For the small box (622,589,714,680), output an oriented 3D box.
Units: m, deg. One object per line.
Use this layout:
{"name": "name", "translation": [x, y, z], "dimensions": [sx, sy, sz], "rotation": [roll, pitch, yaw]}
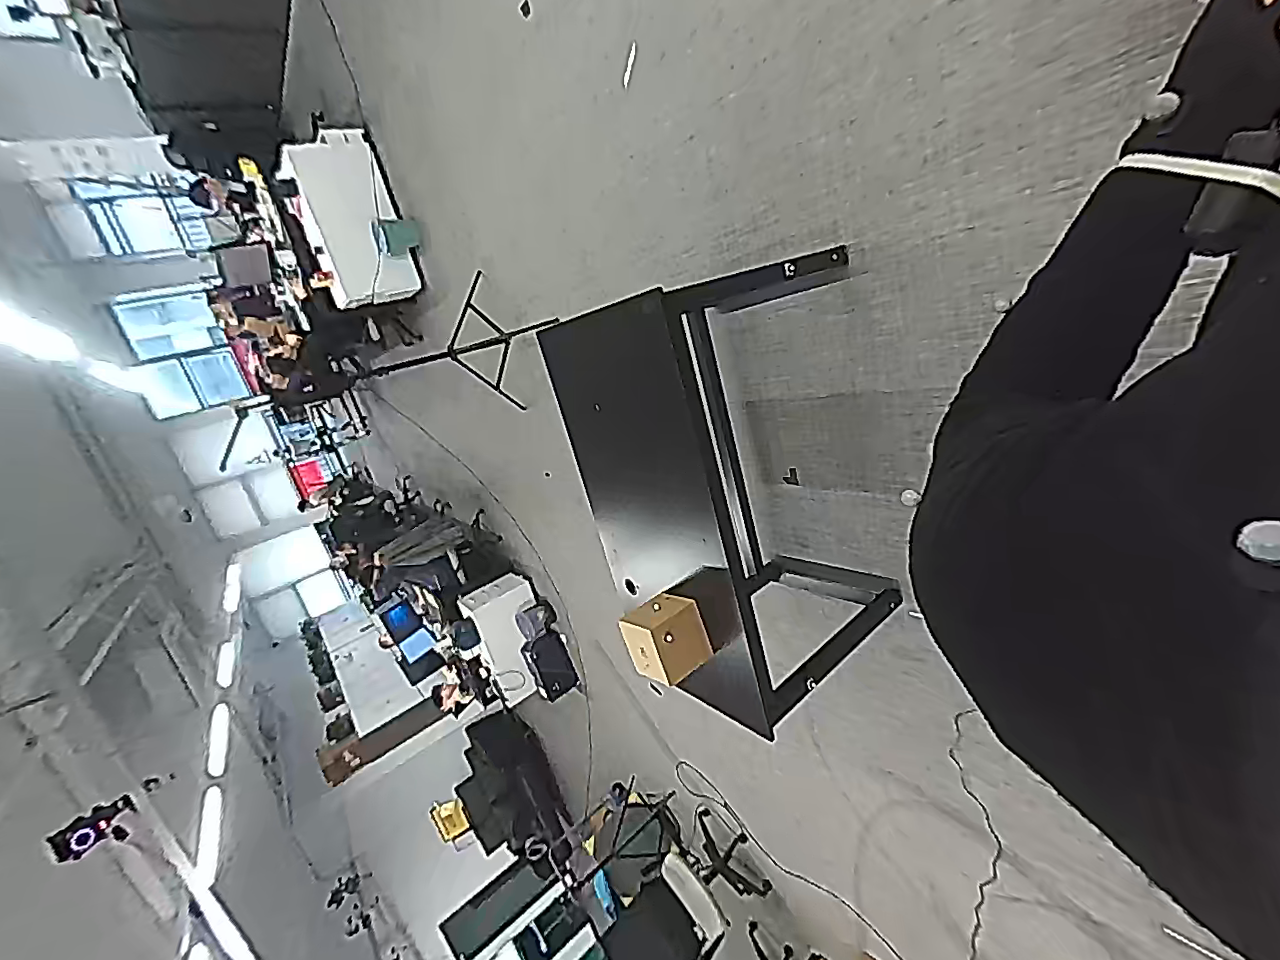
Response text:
{"name": "small box", "translation": [0.081, 0.429, 1.539], "dimensions": [0.168, 0.176, 0.179], "rotation": [-5, 108, 57]}
